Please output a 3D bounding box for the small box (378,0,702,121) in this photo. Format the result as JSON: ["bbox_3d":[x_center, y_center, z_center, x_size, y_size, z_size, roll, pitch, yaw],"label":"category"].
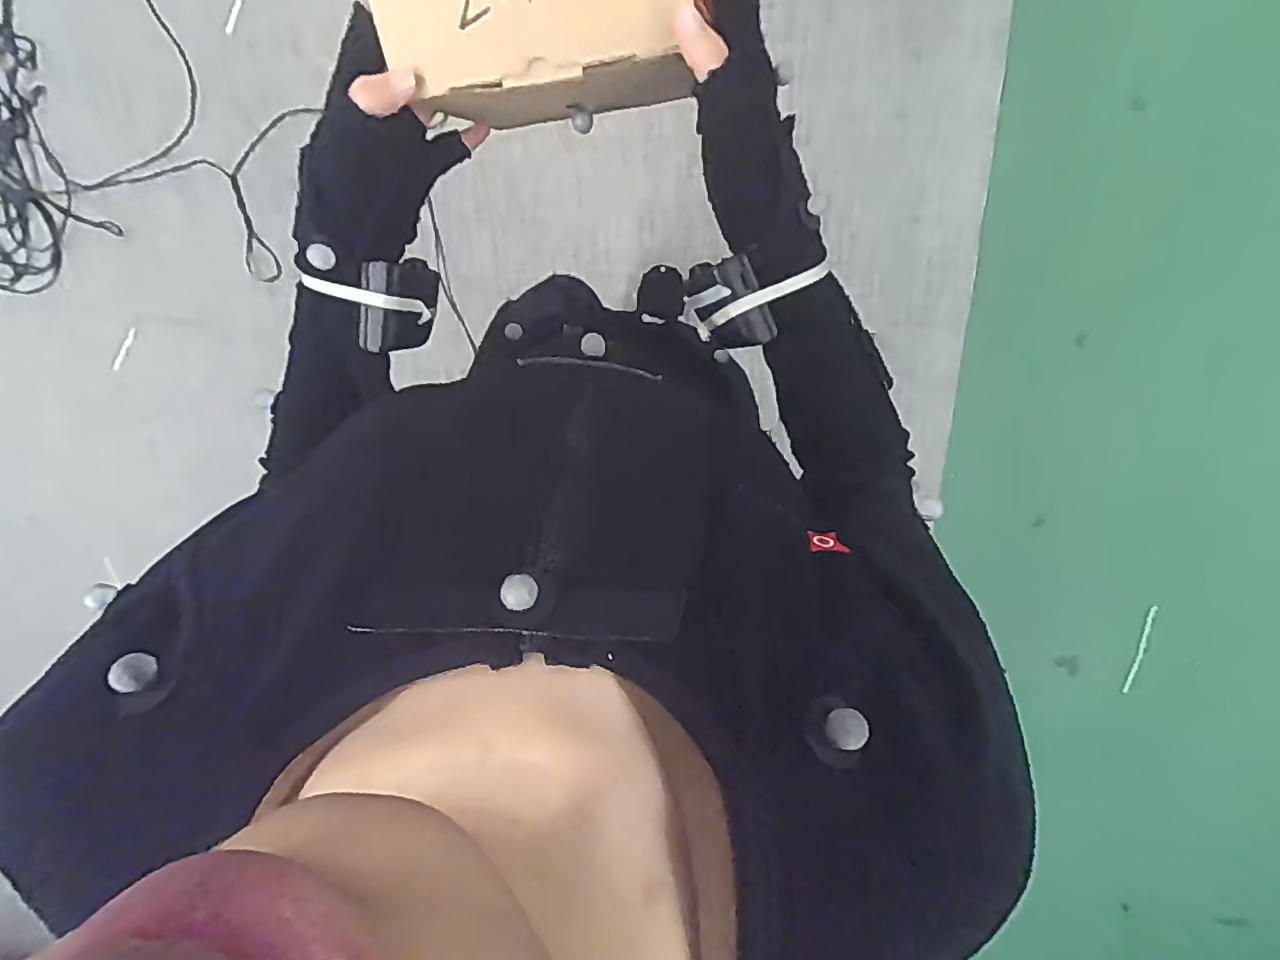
[{"bbox_3d":[-0.052,-0.334,0.316,0.168,0.176,0.179,-4,116,8],"label":"small box"}]
